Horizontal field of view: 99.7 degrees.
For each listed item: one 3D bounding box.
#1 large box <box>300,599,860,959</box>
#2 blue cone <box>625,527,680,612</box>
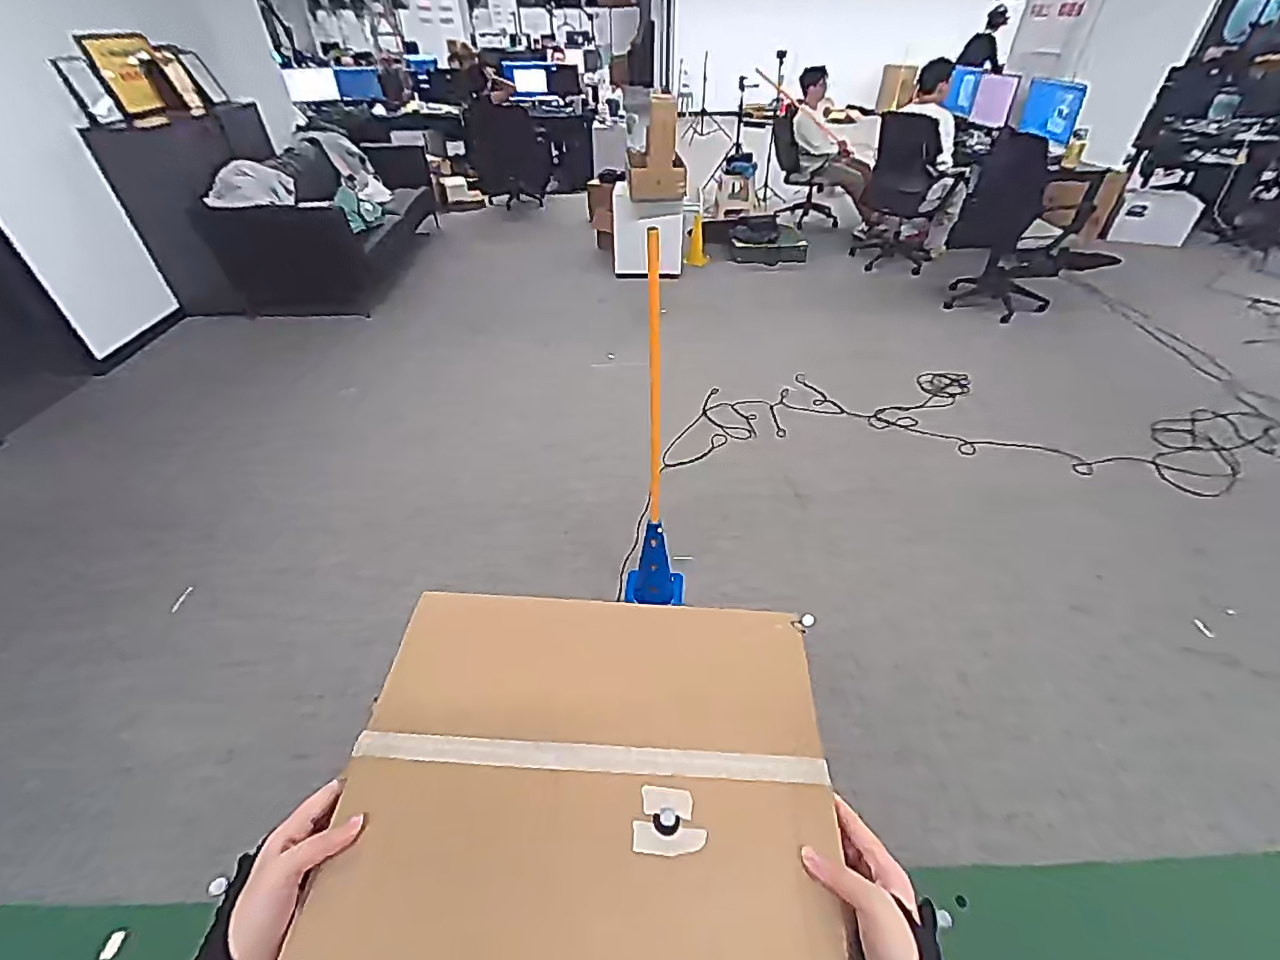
[{"bbox_3d":[-0.042,0.353,0.582,0.408,0.320,0.320,4,45,1],"label":"large box"},{"bbox_3d":[0.043,0.292,1.786,0.193,0.380,0.192,4,40,6],"label":"blue cone"}]
